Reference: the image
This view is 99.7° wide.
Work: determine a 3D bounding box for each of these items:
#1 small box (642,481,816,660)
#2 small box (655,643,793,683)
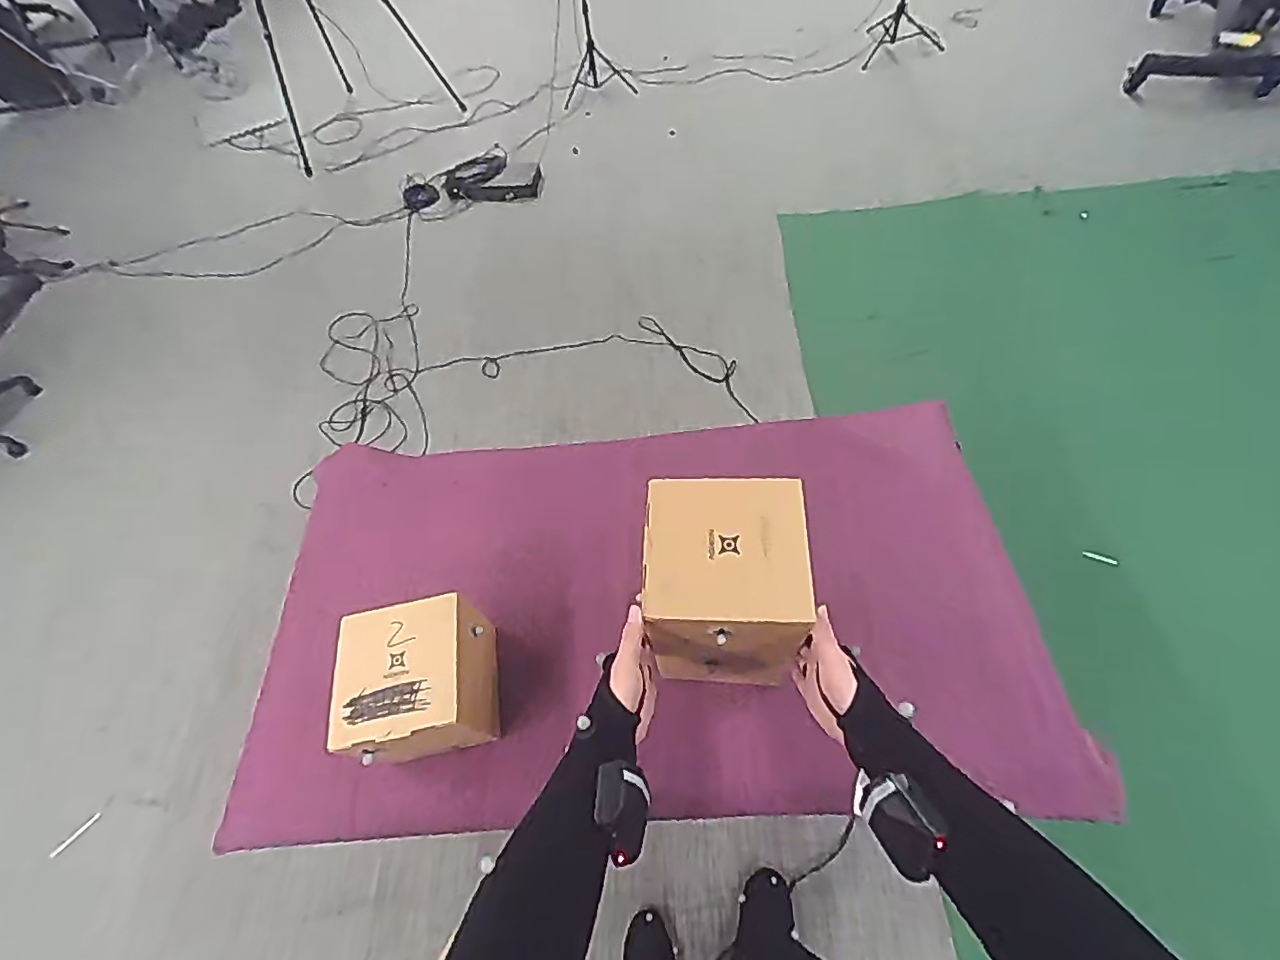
[{"bbox_3d":[0.102,0.113,0.646,0.179,0.176,0.168,0,60,7],"label":"small box"},{"bbox_3d":[0.120,0.193,0.788,0.179,0.176,0.168,1,60,7],"label":"small box"}]
